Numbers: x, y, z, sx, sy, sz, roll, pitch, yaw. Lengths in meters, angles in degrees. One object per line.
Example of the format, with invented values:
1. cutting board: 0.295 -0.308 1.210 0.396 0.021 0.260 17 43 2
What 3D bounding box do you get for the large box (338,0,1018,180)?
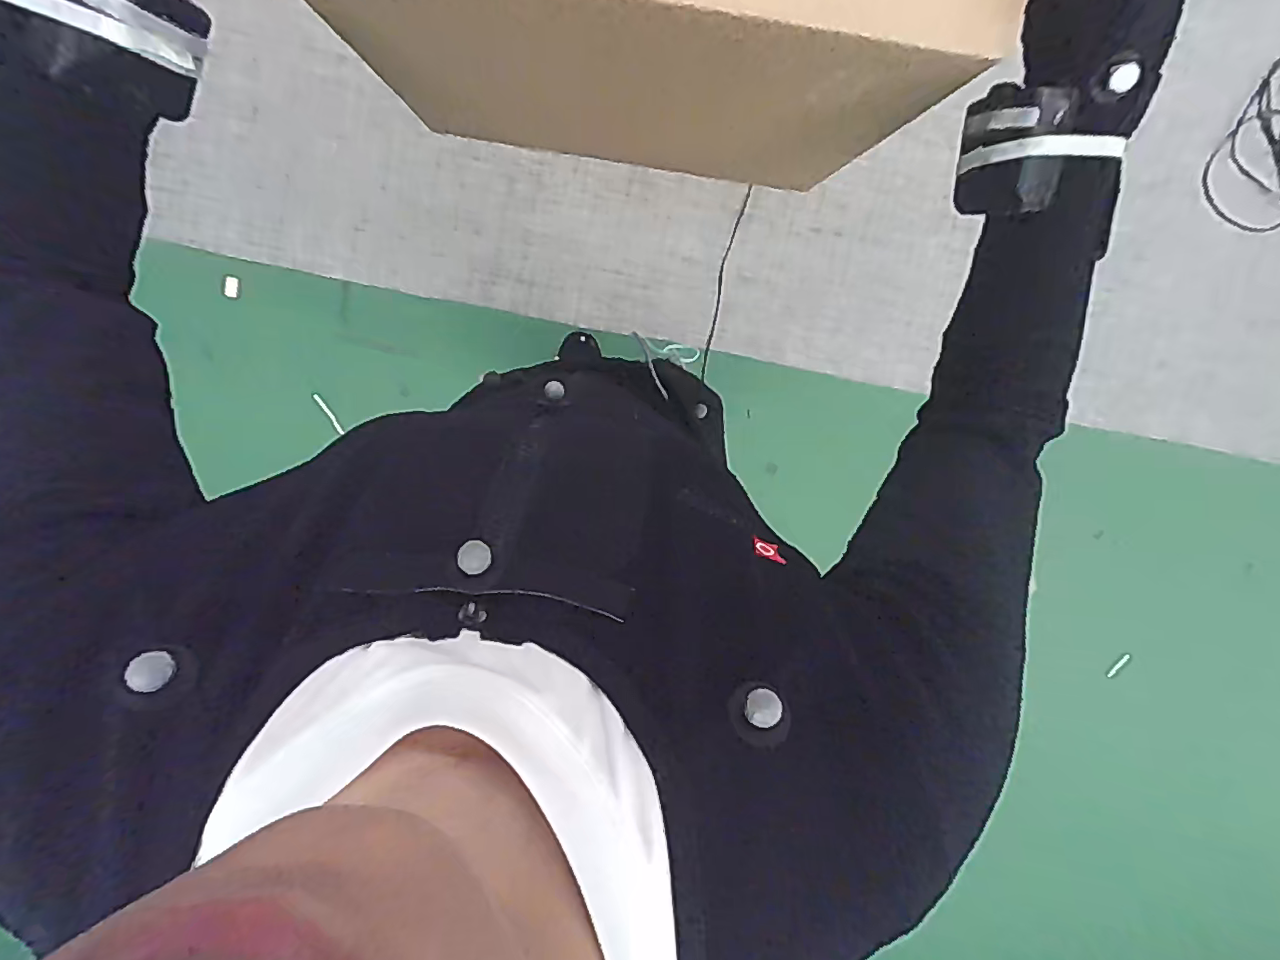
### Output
1. large box: 0.015 -0.445 0.389 0.408 0.320 0.320 6 107 -6
